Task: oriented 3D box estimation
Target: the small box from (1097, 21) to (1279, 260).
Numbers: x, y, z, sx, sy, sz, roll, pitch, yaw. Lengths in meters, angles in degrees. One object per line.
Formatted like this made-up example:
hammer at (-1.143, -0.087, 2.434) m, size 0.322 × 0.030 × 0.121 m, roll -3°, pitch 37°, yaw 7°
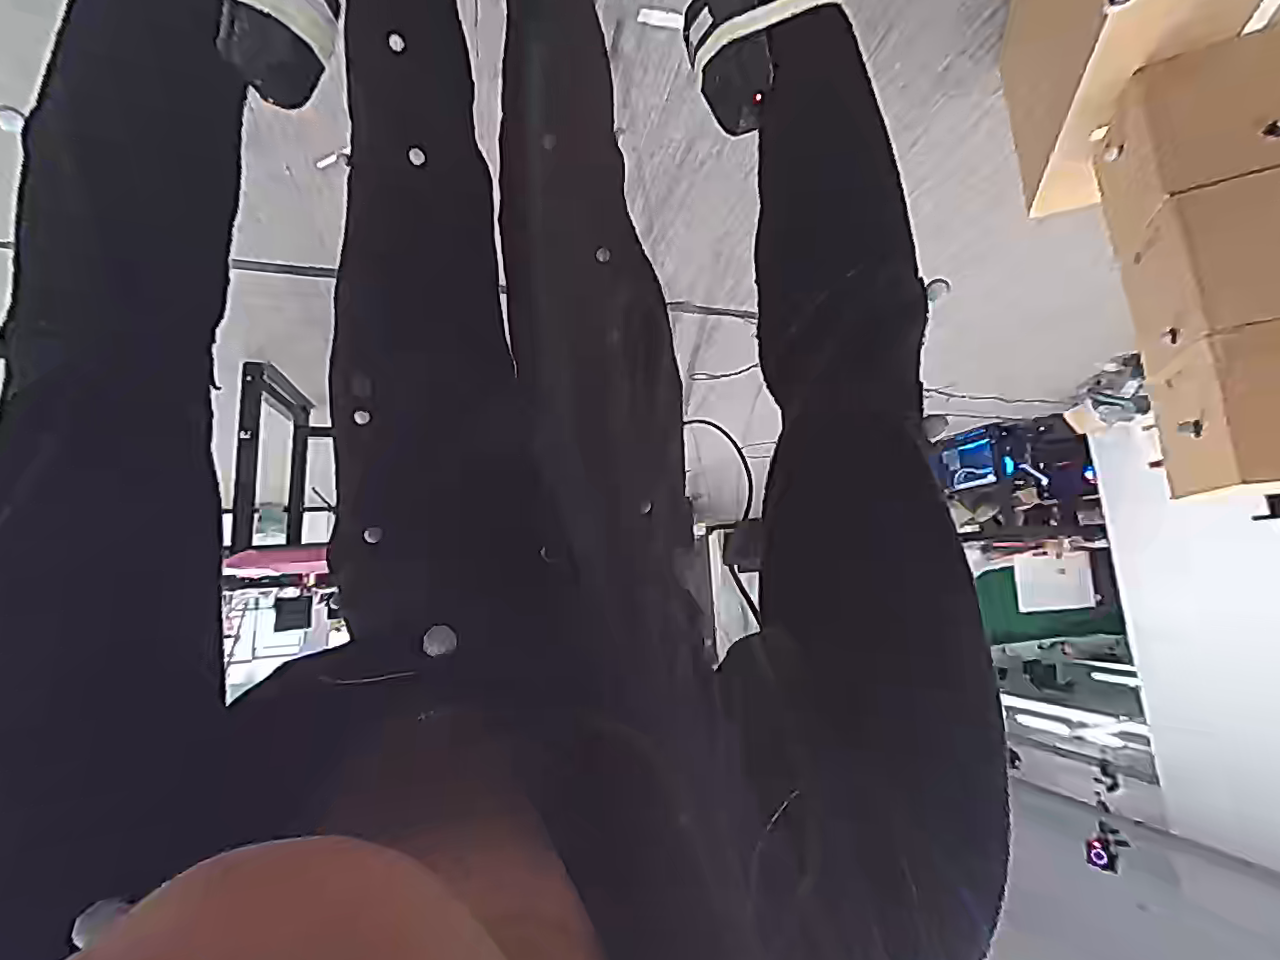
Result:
small box at (0.696, -0.404, 0.651) m, size 0.179 × 0.176 × 0.168 m, roll -7°, pitch 169°, yaw 25°

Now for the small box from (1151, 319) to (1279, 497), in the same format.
small box at (0.717, -0.082, 0.597) m, size 0.179 × 0.176 × 0.168 m, roll -8°, pitch 169°, yaw 25°

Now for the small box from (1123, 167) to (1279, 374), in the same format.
small box at (0.708, -0.243, 0.621) m, size 0.179 × 0.176 × 0.168 m, roll -8°, pitch 169°, yaw 24°
